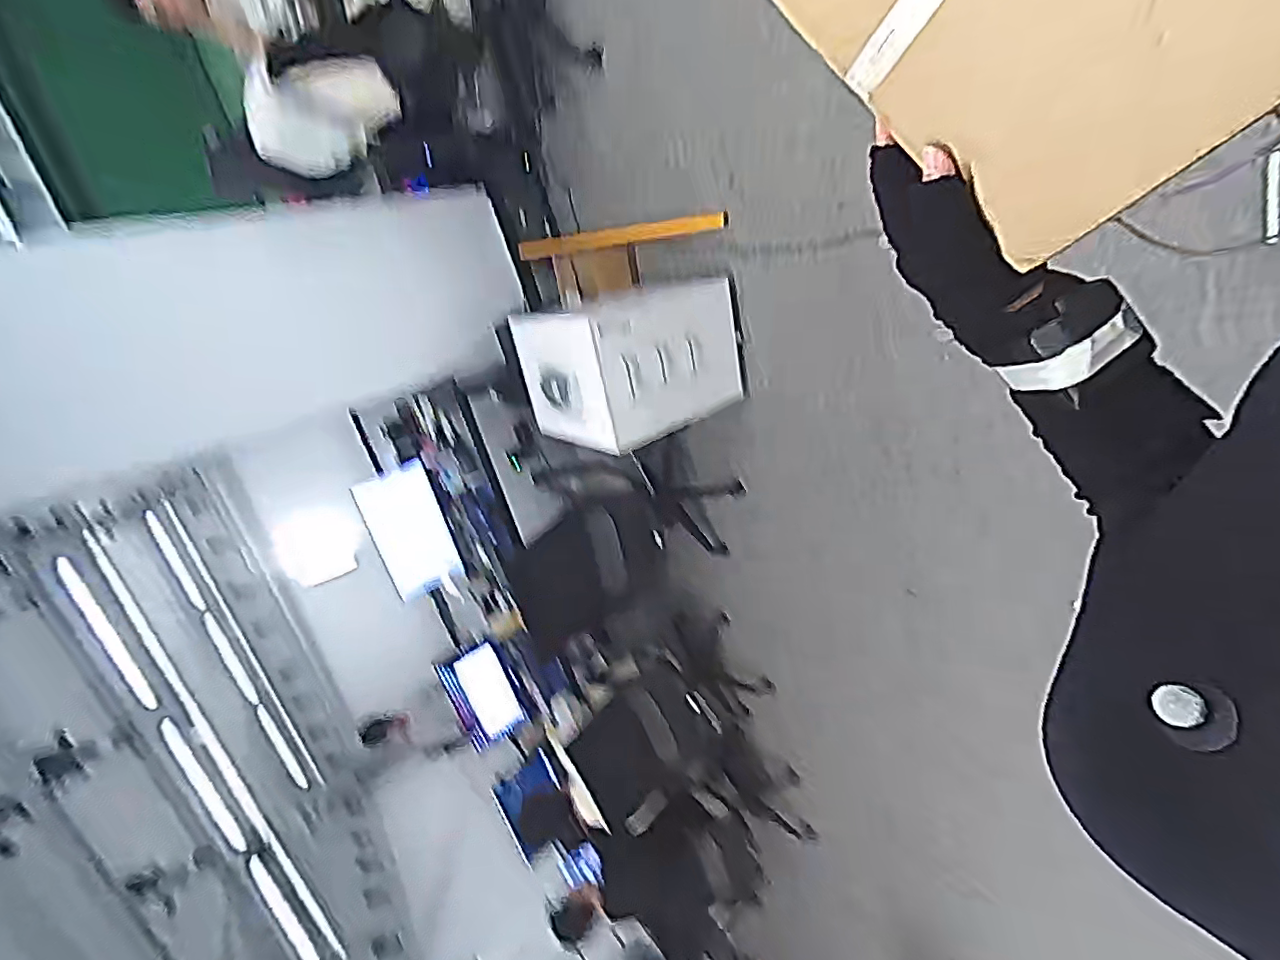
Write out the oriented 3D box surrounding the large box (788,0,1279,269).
[{"bbox_3d":[0.313,-0.392,0.231,0.320,0.320,0.408,51,154,1],"label":"large box"}]
